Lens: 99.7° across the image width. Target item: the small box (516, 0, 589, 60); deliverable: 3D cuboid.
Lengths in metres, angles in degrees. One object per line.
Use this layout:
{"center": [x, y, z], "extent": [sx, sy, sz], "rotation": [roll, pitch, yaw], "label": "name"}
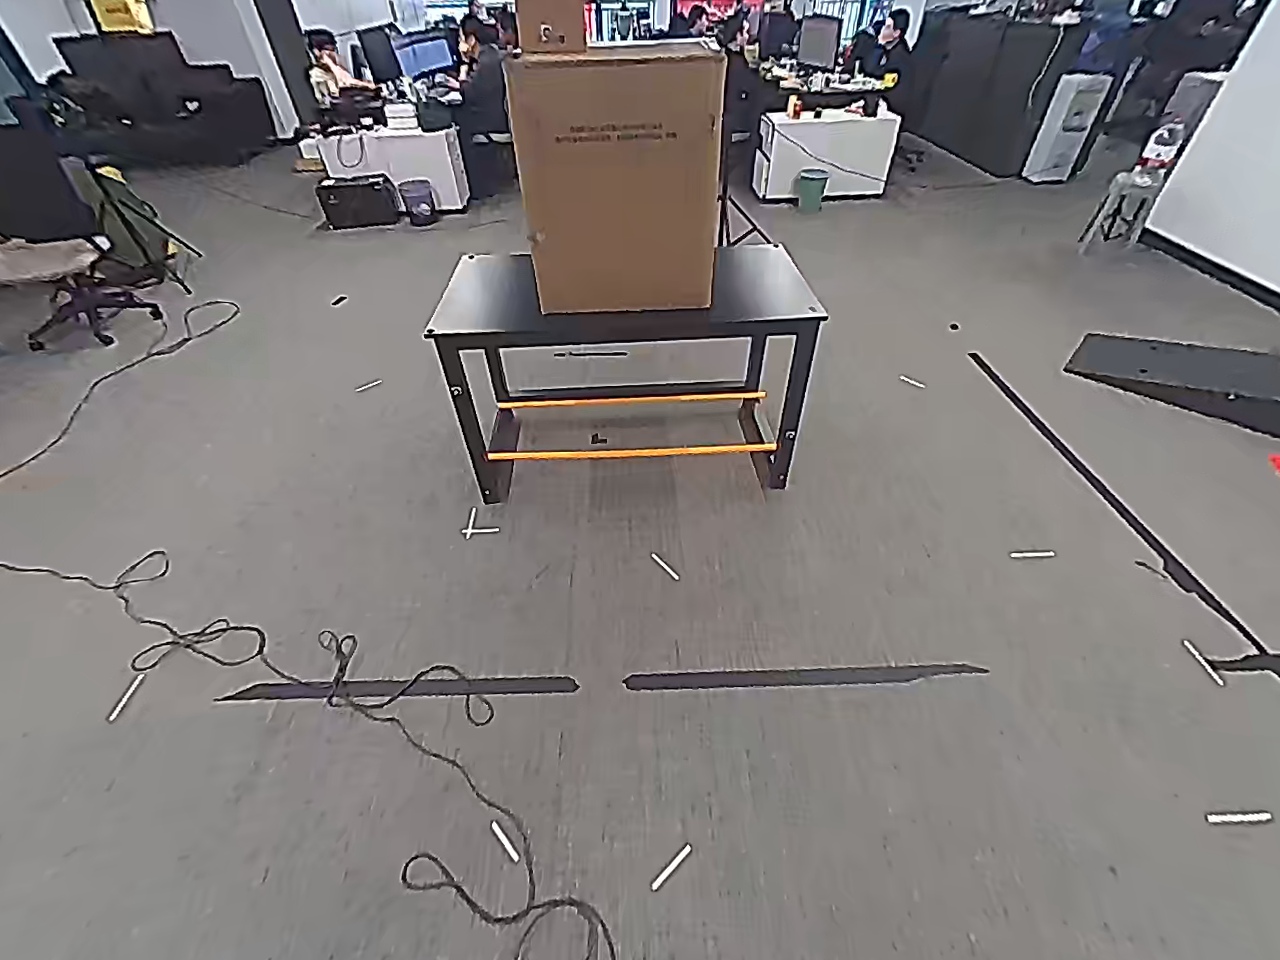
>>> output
{"center": [-0.216, -1.149, 1.328], "extent": [0.168, 0.176, 0.179], "rotation": [-6, 45, -5], "label": "small box"}
